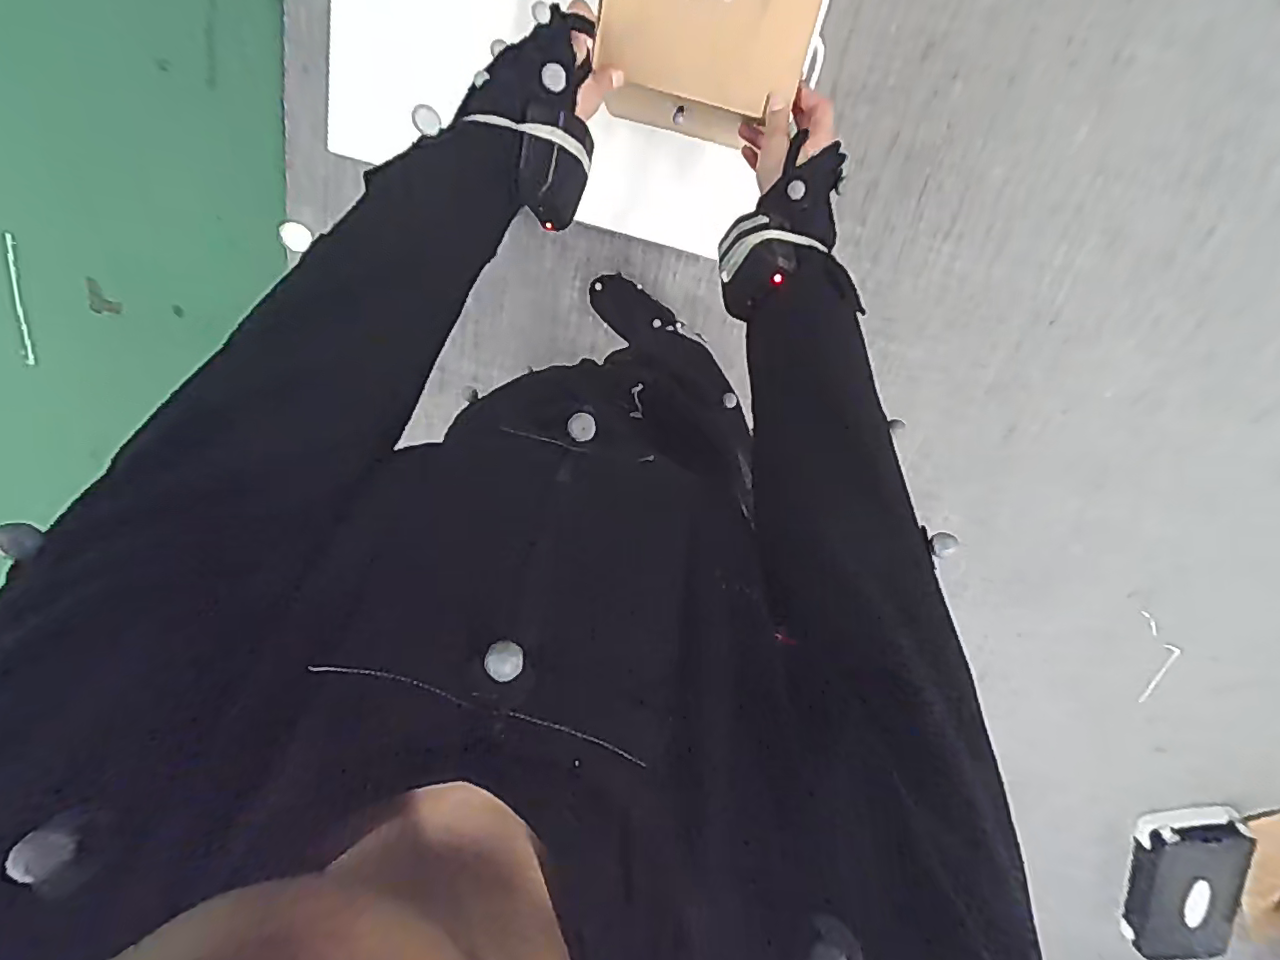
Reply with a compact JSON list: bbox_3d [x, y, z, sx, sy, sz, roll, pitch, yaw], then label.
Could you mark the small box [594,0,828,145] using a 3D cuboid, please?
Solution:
[{"bbox_3d":[0.068,-0.426,0.494,0.179,0.176,0.168,13,114,-3],"label":"small box"}]
